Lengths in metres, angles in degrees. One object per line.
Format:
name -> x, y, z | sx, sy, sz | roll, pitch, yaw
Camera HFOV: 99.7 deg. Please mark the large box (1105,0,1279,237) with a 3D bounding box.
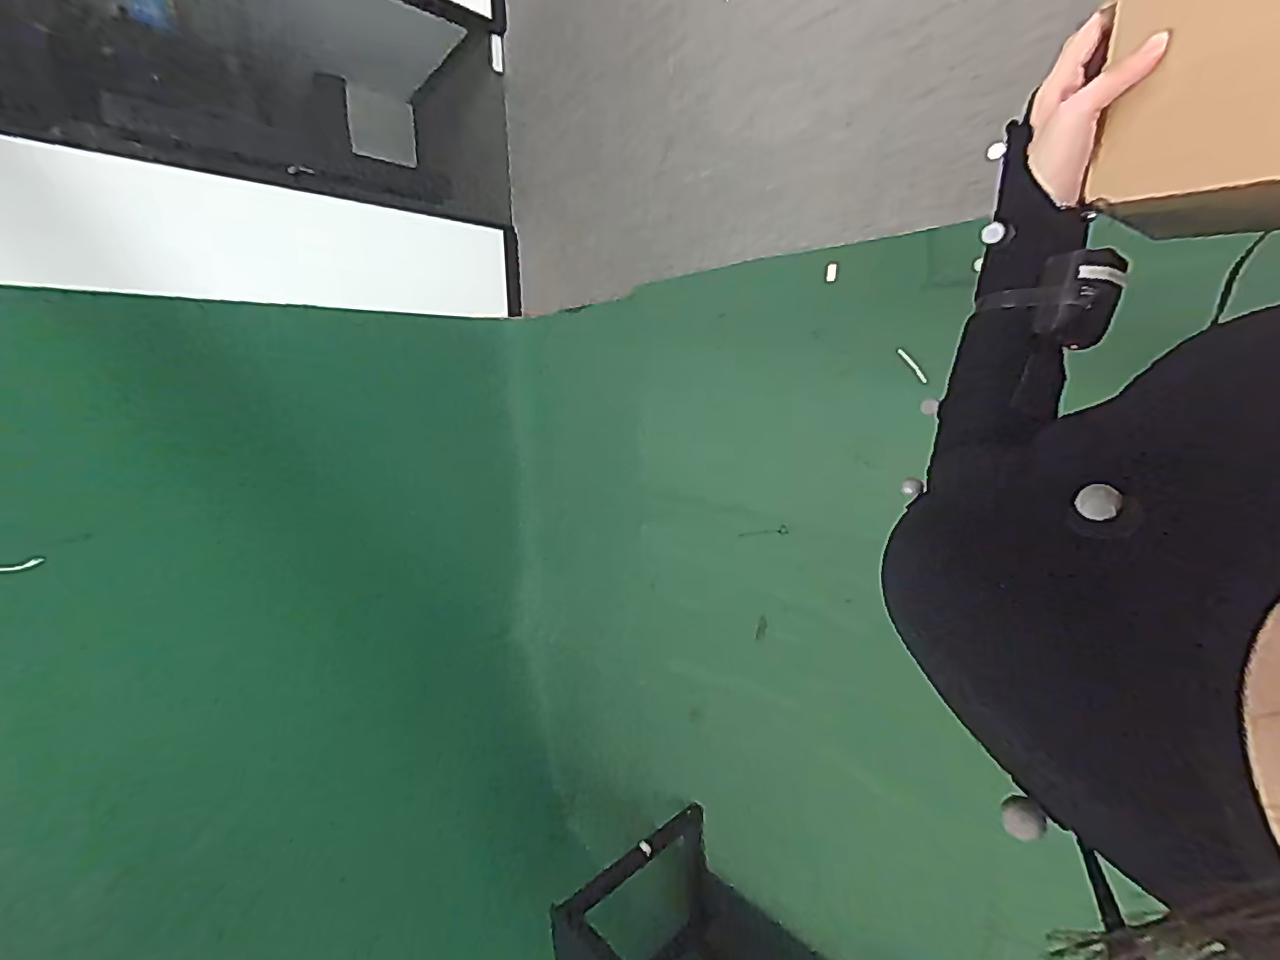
large box -> 0.579, -0.351, 0.316 | 0.408, 0.320, 0.320 | 15, 113, 46
